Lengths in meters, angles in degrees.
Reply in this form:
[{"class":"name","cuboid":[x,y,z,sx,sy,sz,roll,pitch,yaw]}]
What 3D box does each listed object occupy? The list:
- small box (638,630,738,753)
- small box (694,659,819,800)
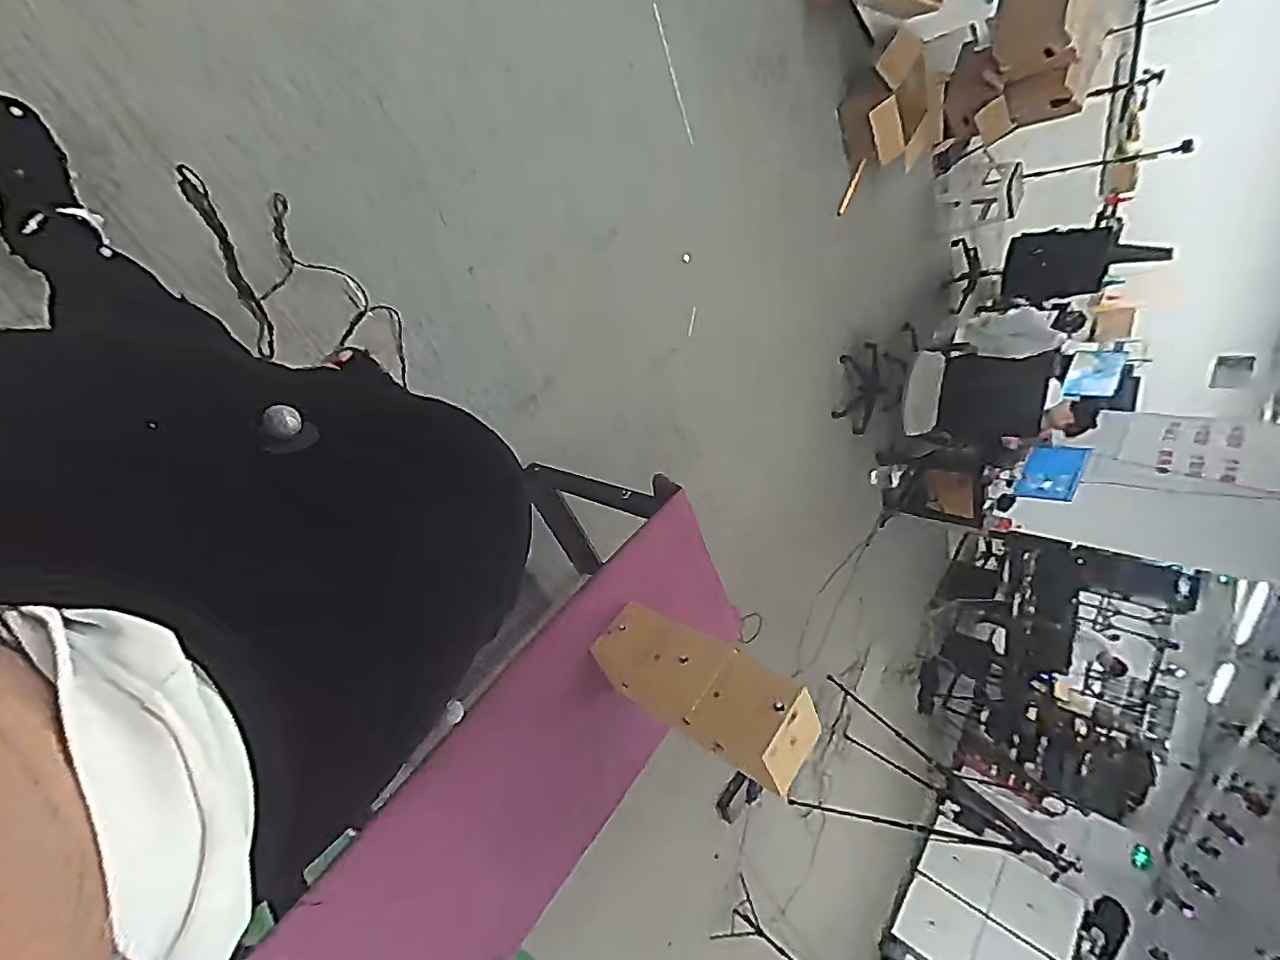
[{"class":"small box","cuboid":[0.121,0.462,1.213,0.168,0.176,0.179,-43,128,-28]},{"class":"small box","cuboid":[0.238,0.498,1.104,0.168,0.176,0.179,-46,129,-28]}]
